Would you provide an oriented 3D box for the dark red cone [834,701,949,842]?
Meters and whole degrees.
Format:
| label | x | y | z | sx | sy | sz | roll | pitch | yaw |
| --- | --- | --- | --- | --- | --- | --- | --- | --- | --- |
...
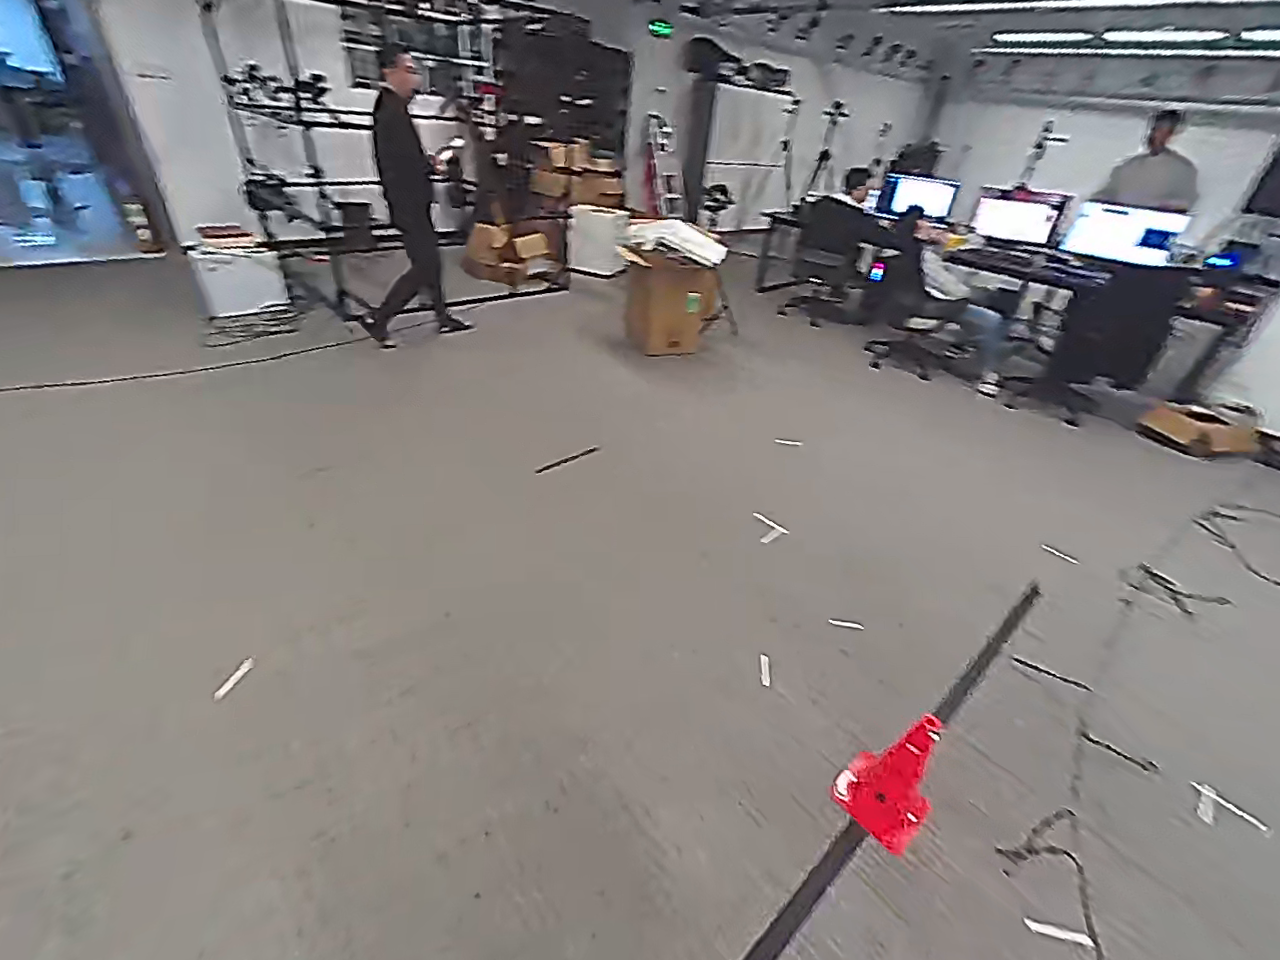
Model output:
| label | x | y | z | sx | sy | sz | roll | pitch | yaw |
| --- | --- | --- | --- | --- | --- | --- | --- | --- | --- |
| dark red cone | 0.653 | 0.675 | 1.325 | 0.202 | 0.394 | 0.201 | -23 | 45 | -37 |
